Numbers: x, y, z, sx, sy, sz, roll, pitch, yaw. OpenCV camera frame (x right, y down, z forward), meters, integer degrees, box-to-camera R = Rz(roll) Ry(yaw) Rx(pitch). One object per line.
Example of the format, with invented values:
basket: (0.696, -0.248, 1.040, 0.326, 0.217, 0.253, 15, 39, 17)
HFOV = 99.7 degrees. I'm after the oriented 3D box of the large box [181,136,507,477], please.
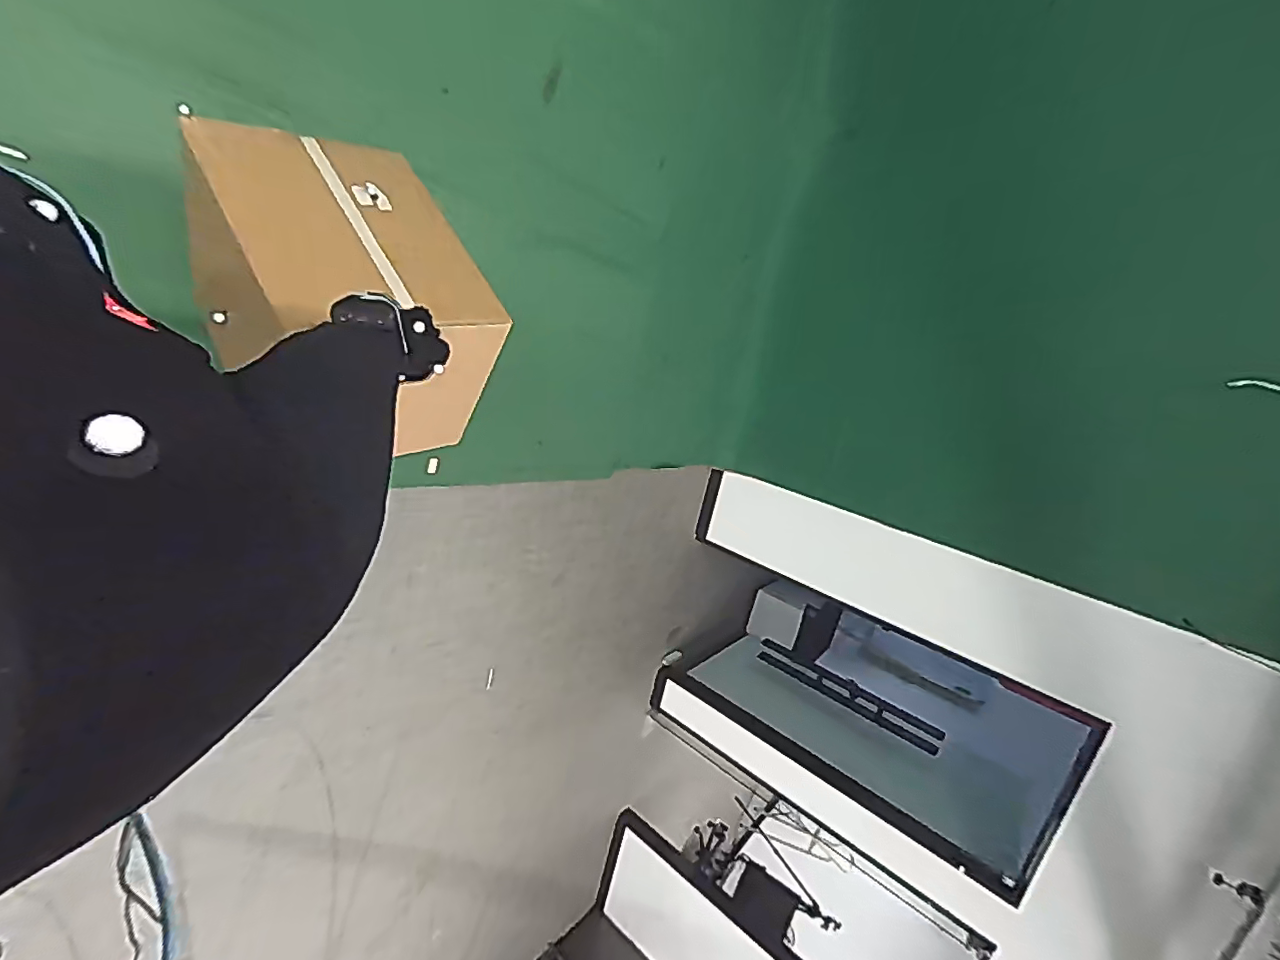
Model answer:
large box: (-0.490, -0.274, 0.897, 0.320, 0.408, 0.320, -19, 157, -44)
